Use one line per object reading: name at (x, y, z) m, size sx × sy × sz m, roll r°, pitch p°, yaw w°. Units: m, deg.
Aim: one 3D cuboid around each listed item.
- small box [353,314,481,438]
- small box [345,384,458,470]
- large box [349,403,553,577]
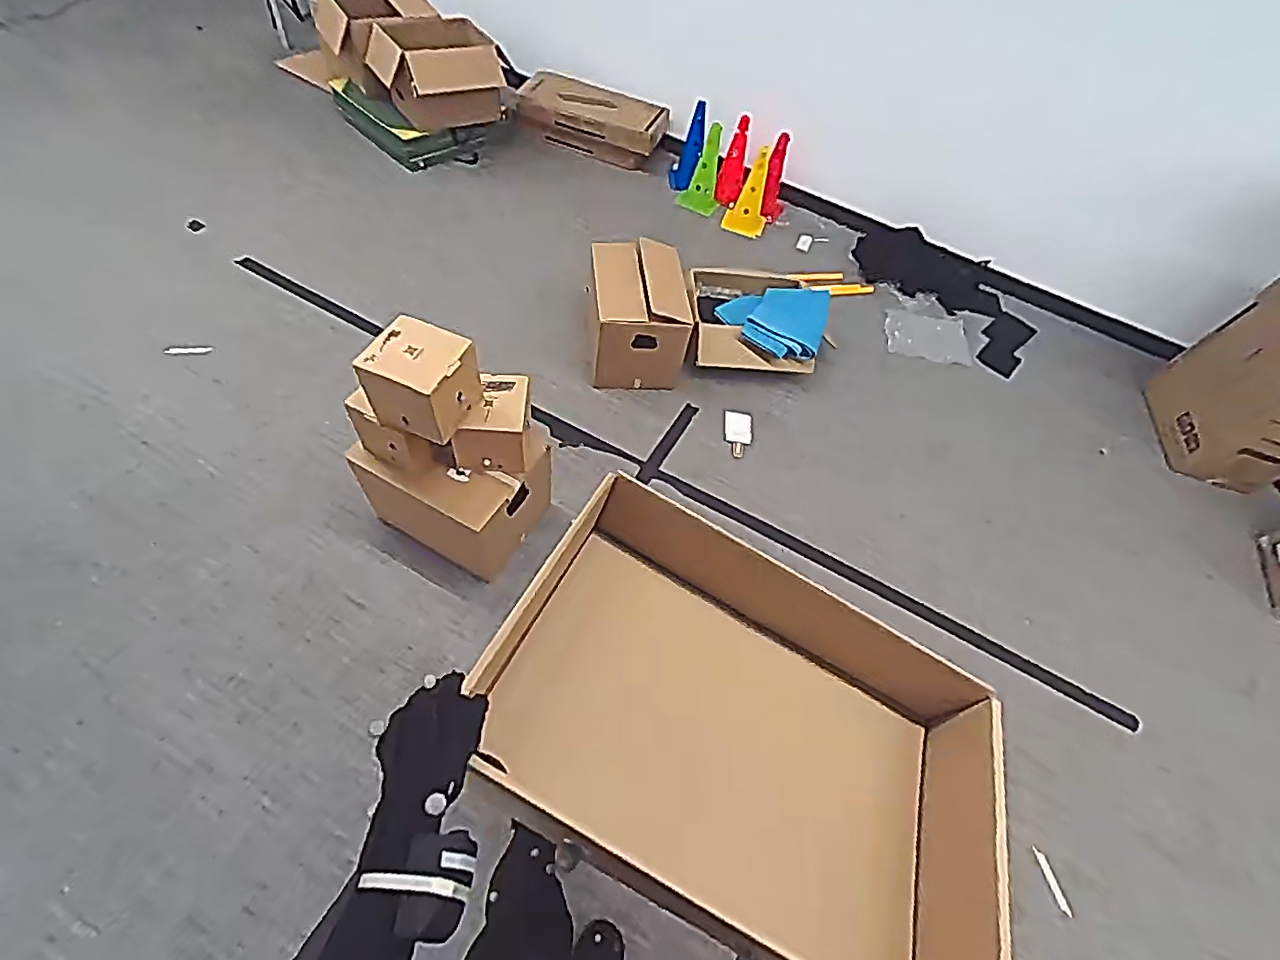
small box at (-0.460, -0.214, 1.149) m, size 0.179 × 0.176 × 0.168 m, roll 22°, pitch 57°, yaw 6°
small box at (-0.556, -0.154, 1.293) m, size 0.168 × 0.176 × 0.179 m, roll 28°, pitch 56°, yaw 7°
large box at (-0.493, 0.003, 1.493) m, size 0.408 × 0.320 × 0.320 m, roll 27°, pitch 58°, yaw 8°
